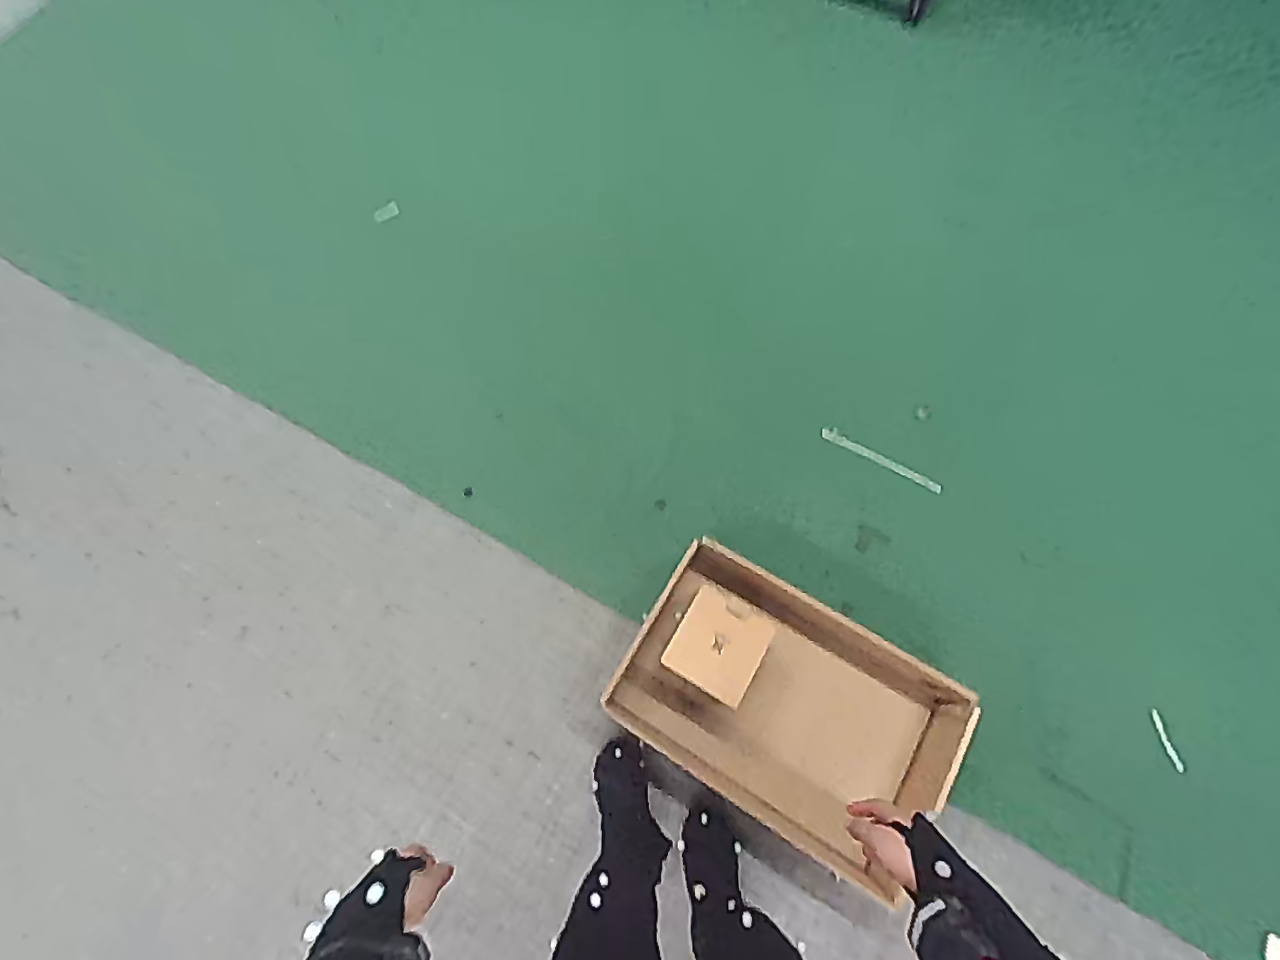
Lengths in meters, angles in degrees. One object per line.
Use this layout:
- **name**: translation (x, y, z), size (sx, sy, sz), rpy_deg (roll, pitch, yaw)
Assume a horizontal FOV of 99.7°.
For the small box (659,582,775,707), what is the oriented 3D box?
- **small box**: translation (0.152, 0.334, 1.107), size (0.168, 0.176, 0.179), rpy_deg (29, 76, 10)
